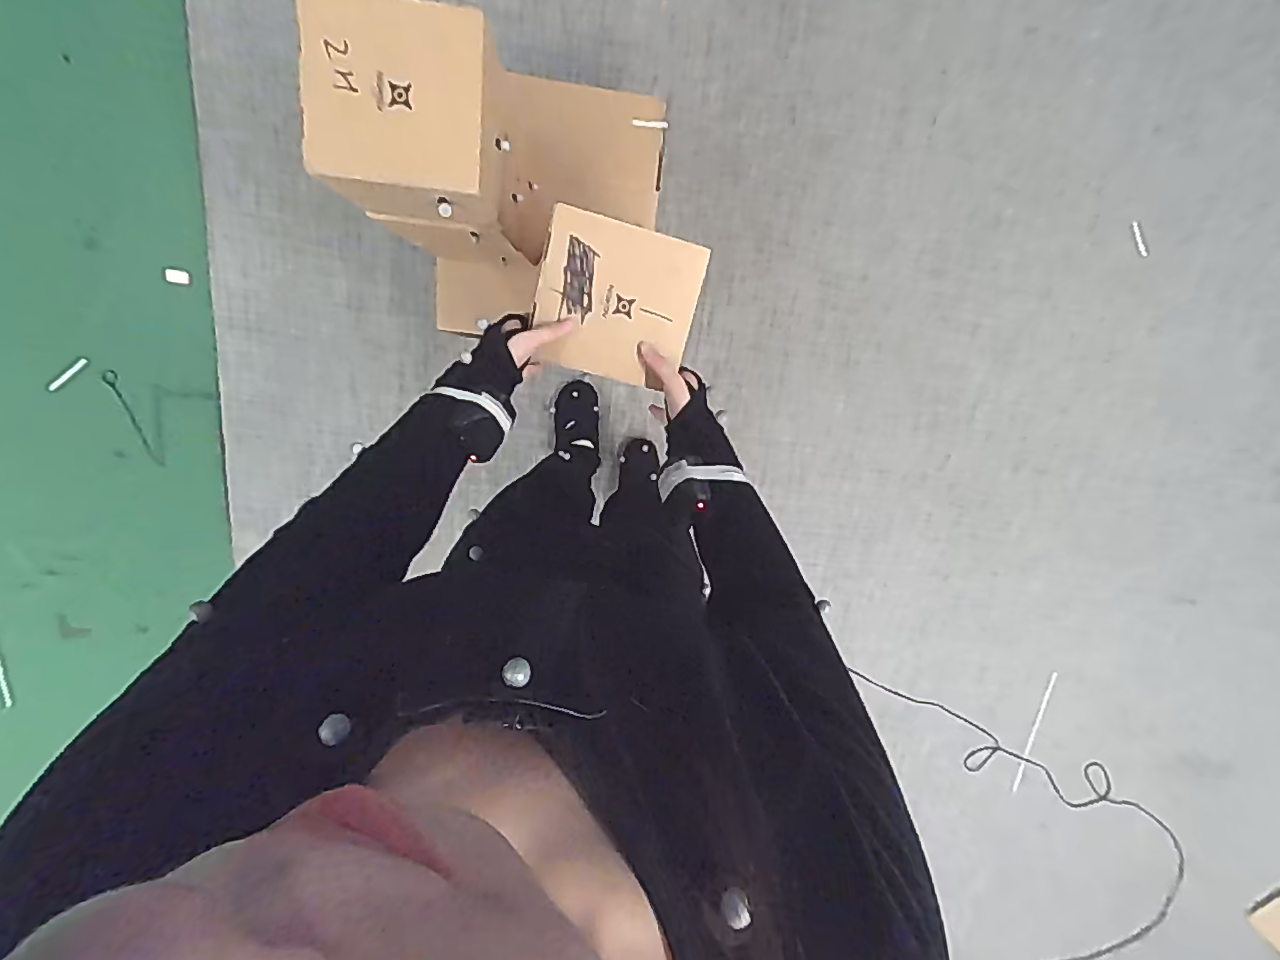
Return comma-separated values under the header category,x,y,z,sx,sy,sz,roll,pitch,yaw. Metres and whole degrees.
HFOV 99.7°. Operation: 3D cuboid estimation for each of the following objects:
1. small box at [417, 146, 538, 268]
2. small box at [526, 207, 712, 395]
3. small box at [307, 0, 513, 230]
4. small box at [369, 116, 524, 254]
category,x,y,z,sx,sy,sz,roll,pitch,yaw
small box,-0.273,-0.469,0.935,0.179,0.176,0.168,3,103,-4
small box,-0.032,-0.214,0.676,0.179,0.176,0.168,13,104,-10
small box,-0.246,-0.397,0.617,0.179,0.176,0.168,5,102,-6
small box,-0.268,-0.432,0.777,0.179,0.176,0.168,4,103,-6
